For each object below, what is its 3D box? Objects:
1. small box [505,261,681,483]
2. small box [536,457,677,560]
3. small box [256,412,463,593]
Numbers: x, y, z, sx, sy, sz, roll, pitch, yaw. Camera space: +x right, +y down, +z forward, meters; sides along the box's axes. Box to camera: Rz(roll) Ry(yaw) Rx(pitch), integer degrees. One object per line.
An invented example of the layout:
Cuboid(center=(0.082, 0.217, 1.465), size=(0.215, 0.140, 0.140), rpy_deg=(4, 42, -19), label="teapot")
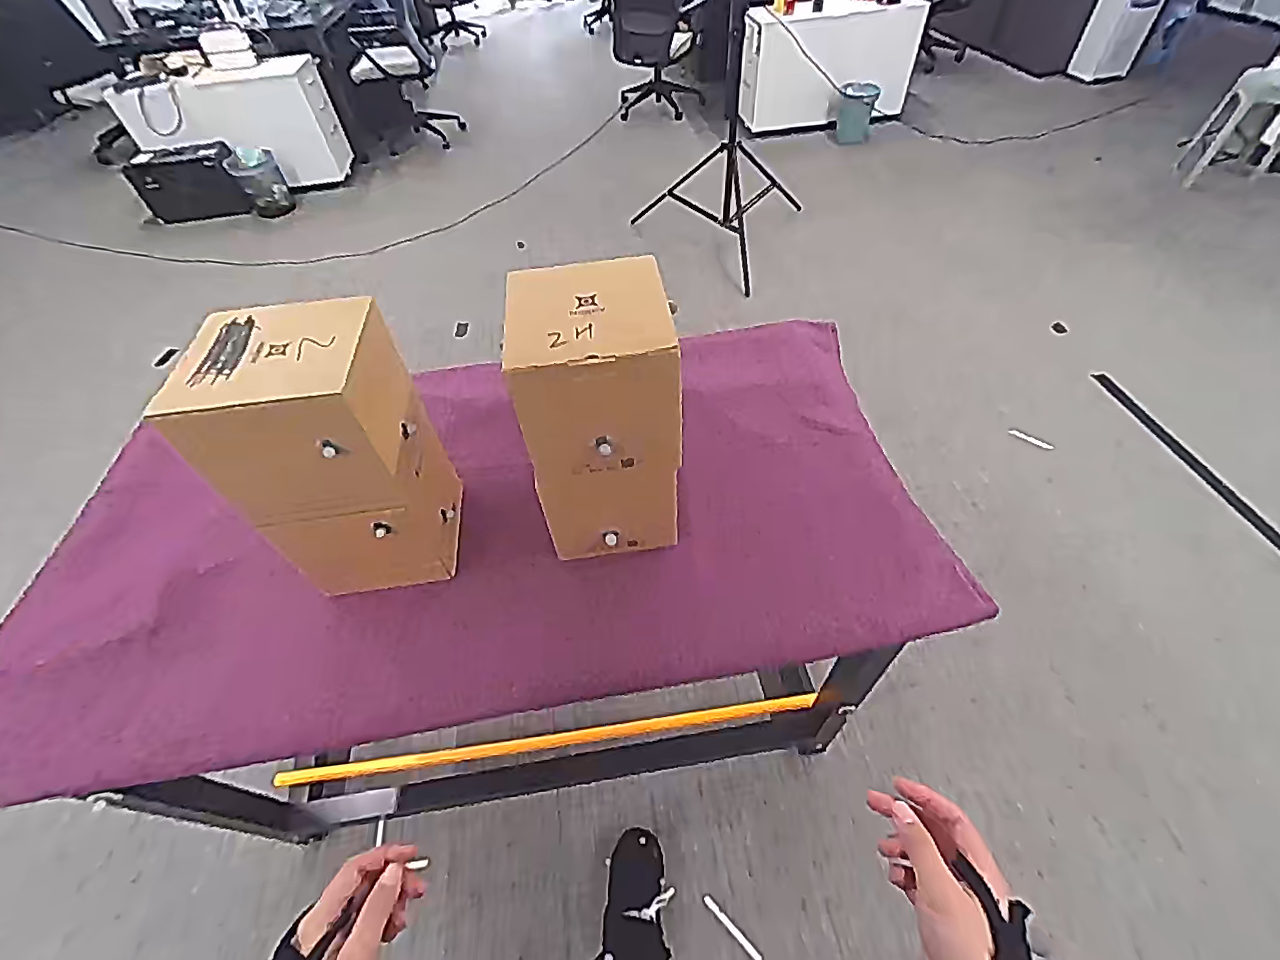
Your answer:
Cuboid(center=(-0.048, -0.120, 0.613), size=(0.168, 0.176, 0.179), rpy_deg=(-8, 50, -1), label="small box")
Cuboid(center=(-0.044, -0.014, 0.739), size=(0.168, 0.176, 0.179), rpy_deg=(-7, 50, -2), label="small box")
Cuboid(center=(-0.354, 0.035, 0.722), size=(0.179, 0.176, 0.168), rpy_deg=(-8, 50, -3), label="small box")
